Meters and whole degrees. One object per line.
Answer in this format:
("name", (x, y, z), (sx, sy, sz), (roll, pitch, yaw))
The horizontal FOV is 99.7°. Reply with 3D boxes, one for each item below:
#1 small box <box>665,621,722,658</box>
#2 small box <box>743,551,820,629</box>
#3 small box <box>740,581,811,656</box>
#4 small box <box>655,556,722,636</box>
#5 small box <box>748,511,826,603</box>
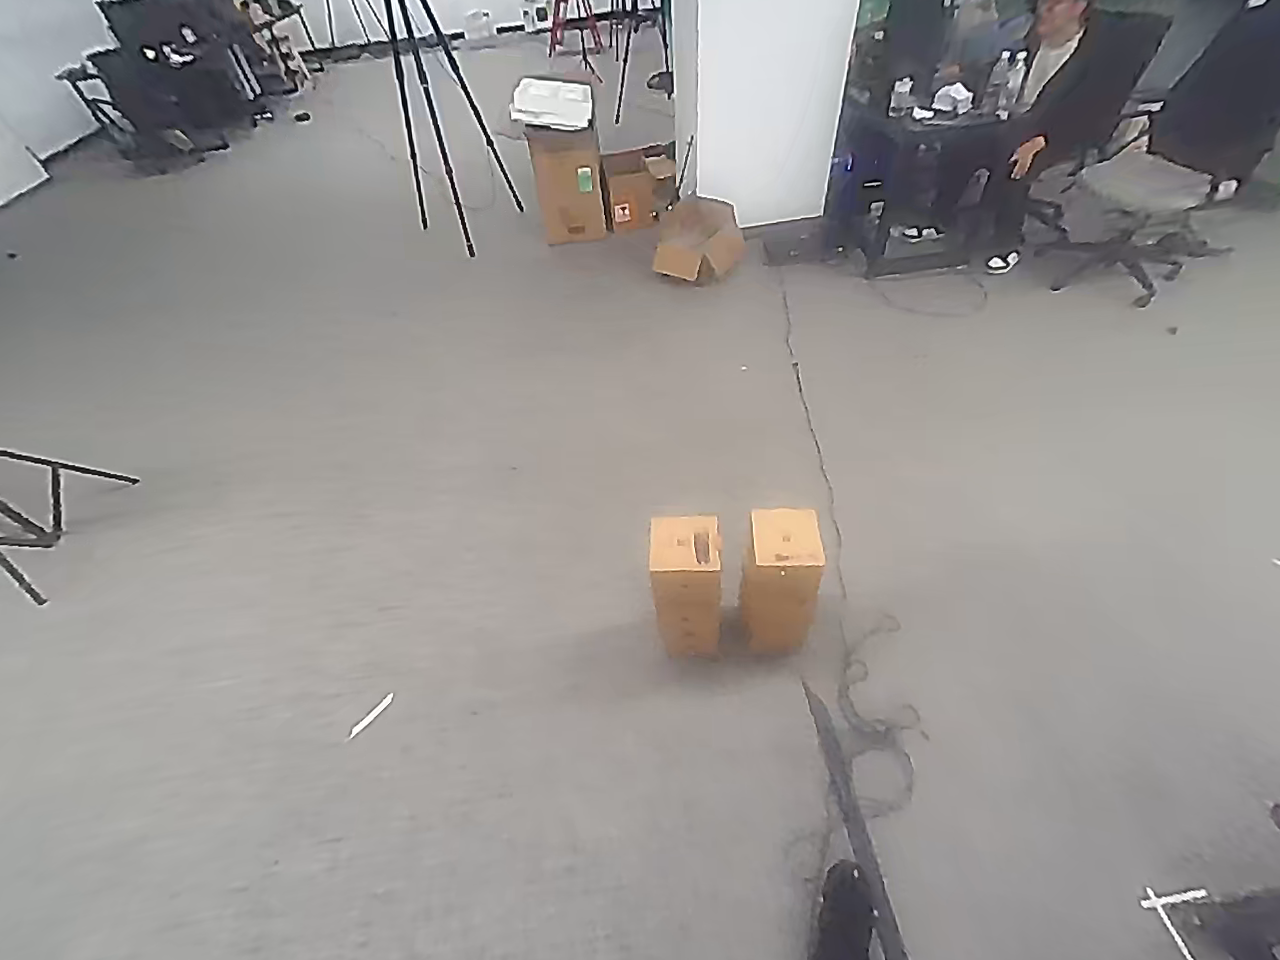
("small box", (0.158, 0.427, 1.661), (0.168, 0.176, 0.179), (-4, 48, 4))
("small box", (0.390, 0.306, 1.528), (0.179, 0.176, 0.168), (-6, 48, 1))
("small box", (0.404, 0.413, 1.648), (0.168, 0.176, 0.179), (-8, 48, 0))
("small box", (0.139, 0.330, 1.529), (0.179, 0.176, 0.168), (-2, 48, 7))
("small box", (0.373, 0.198, 1.405), (0.168, 0.176, 0.179), (-1, 47, 6))
